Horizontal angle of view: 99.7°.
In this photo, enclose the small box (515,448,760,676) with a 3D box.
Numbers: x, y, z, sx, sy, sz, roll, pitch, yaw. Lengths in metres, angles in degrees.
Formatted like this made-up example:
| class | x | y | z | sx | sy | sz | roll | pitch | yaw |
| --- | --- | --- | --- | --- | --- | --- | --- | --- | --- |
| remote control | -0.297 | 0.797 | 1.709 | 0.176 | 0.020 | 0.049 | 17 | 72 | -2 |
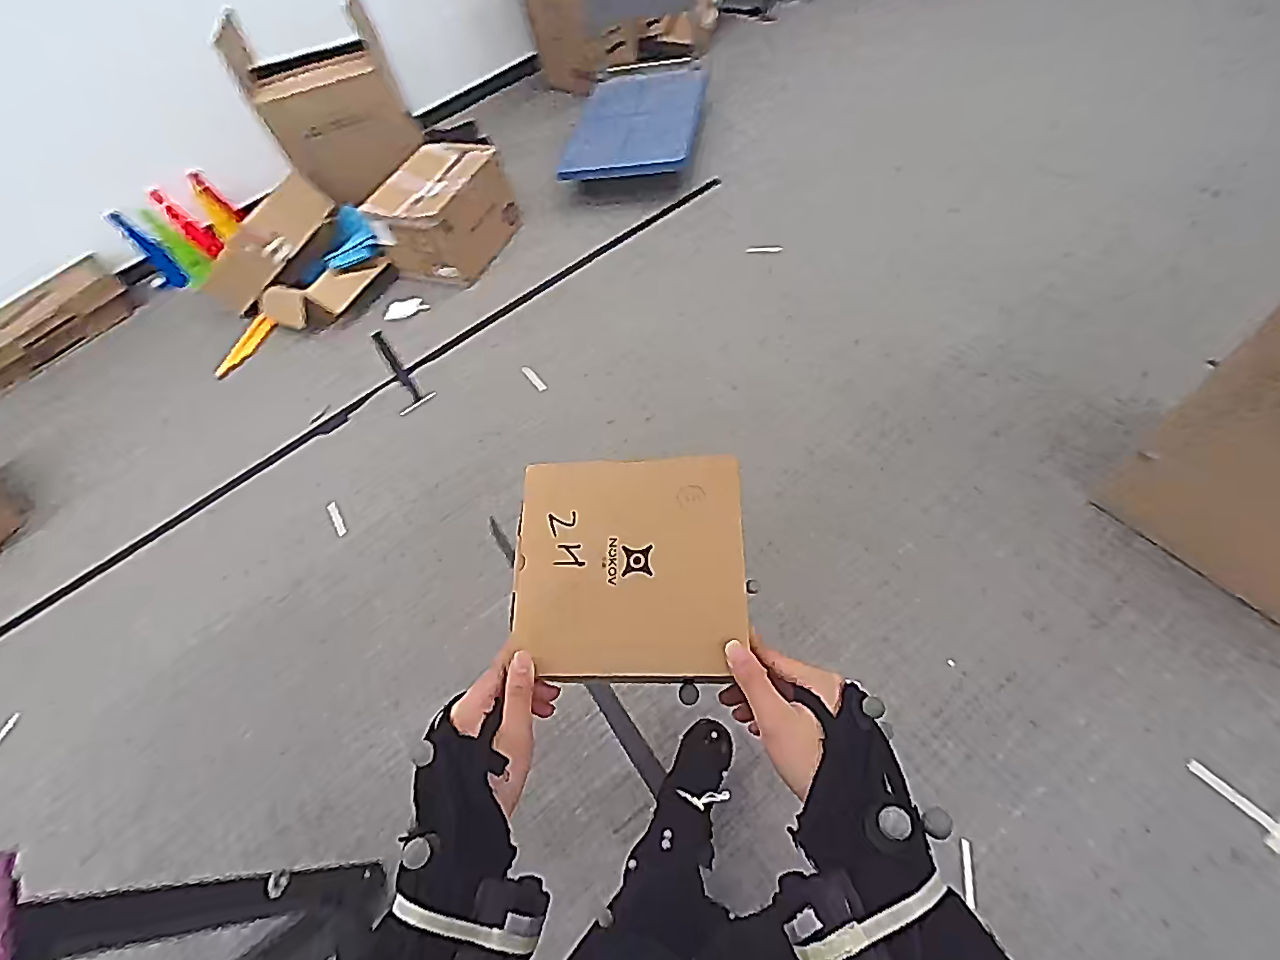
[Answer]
| class | x | y | z | sx | sy | sz | roll | pitch | yaw |
| --- | --- | --- | --- | --- | --- | --- | --- | --- | --- |
| small box | 0.008 | 0.082 | 0.480 | 0.179 | 0.176 | 0.168 | -3 | 68 | 9 |
